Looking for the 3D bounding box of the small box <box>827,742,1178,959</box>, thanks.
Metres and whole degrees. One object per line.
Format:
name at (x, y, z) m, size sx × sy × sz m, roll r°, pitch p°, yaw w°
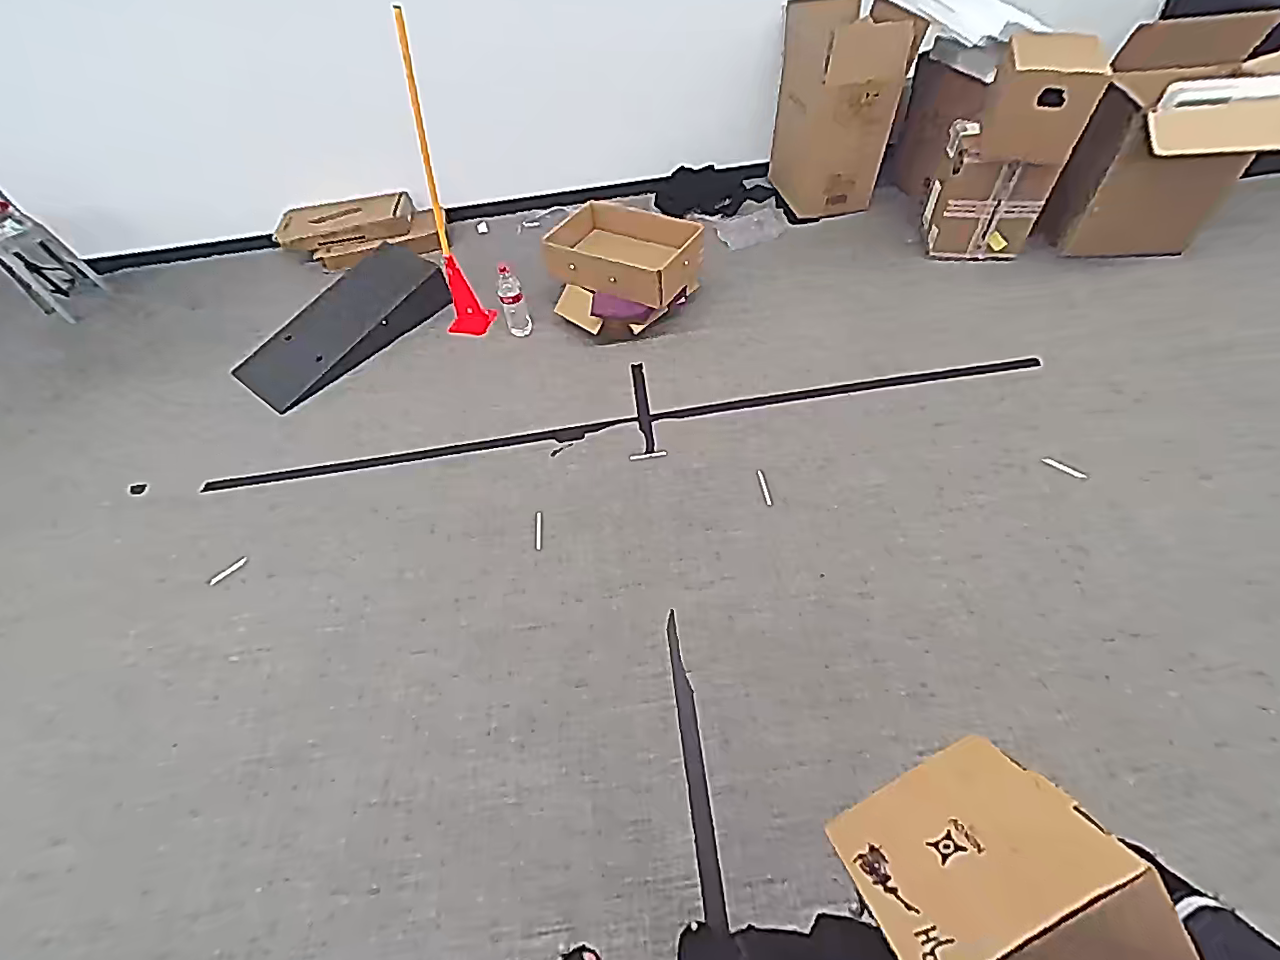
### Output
small box at (0.297, 0.370, 0.449) m, size 0.179 × 0.168 × 0.176 m, roll -29°, pitch 95°, yaw -2°
